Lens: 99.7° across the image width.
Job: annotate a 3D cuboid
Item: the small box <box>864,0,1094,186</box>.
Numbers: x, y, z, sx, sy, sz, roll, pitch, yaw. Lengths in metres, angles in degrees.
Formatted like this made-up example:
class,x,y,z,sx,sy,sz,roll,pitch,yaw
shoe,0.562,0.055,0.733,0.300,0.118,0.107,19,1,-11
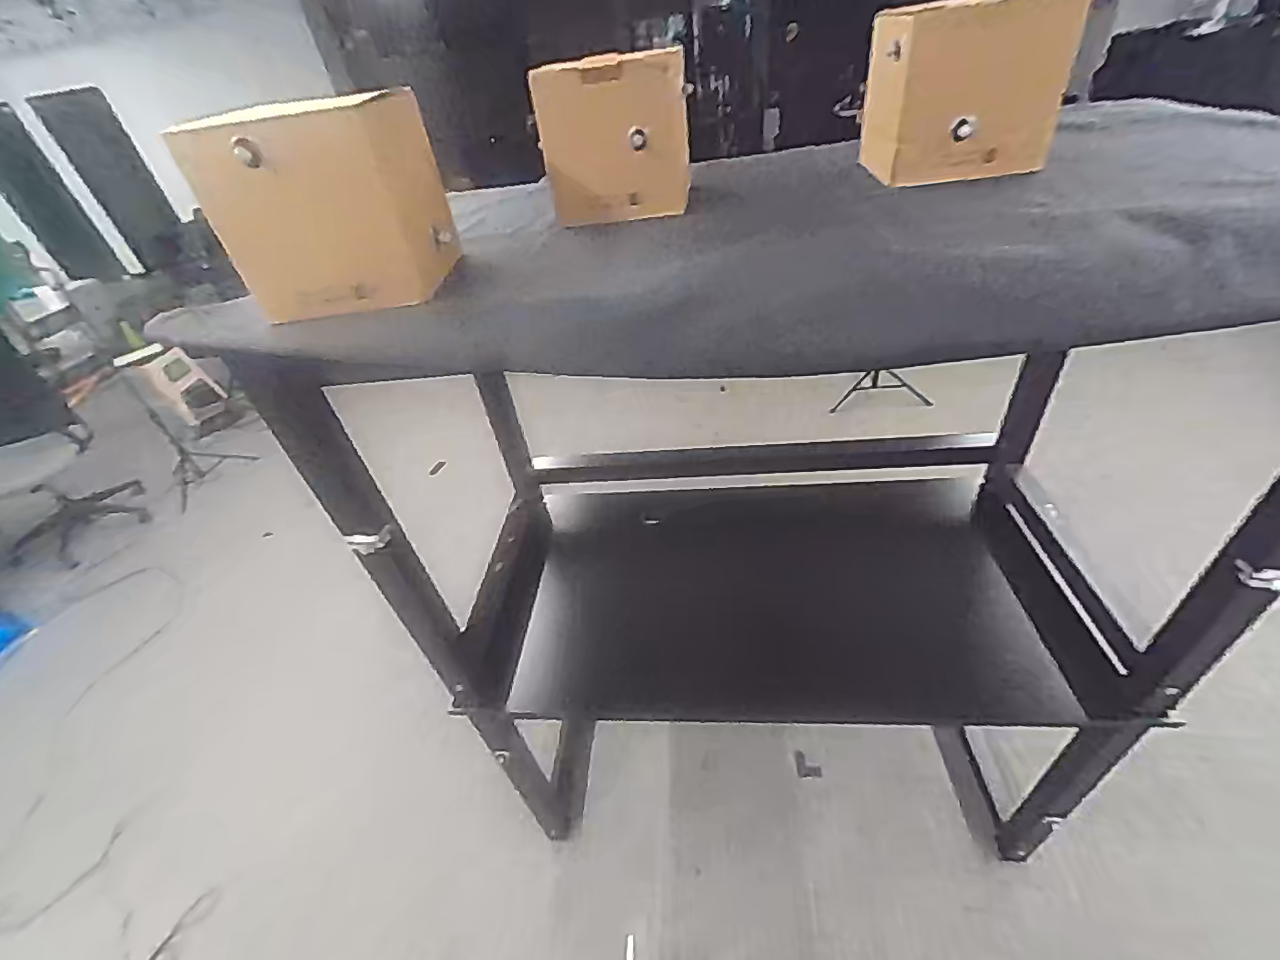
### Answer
class,x,y,z,sx,sy,sz,roll,pitch,yaw
small box,0.378,-0.465,0.645,0.168,0.176,0.179,-3,40,8

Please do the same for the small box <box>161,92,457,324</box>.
class,x,y,z,sx,sy,sz,roll,pitch,yaw
small box,-0.300,-0.274,0.545,0.168,0.176,0.179,-7,39,2

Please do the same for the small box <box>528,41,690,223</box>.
class,x,y,z,sx,sy,sz,roll,pitch,yaw
small box,-0.025,-0.441,0.696,0.168,0.176,0.179,0,40,9
